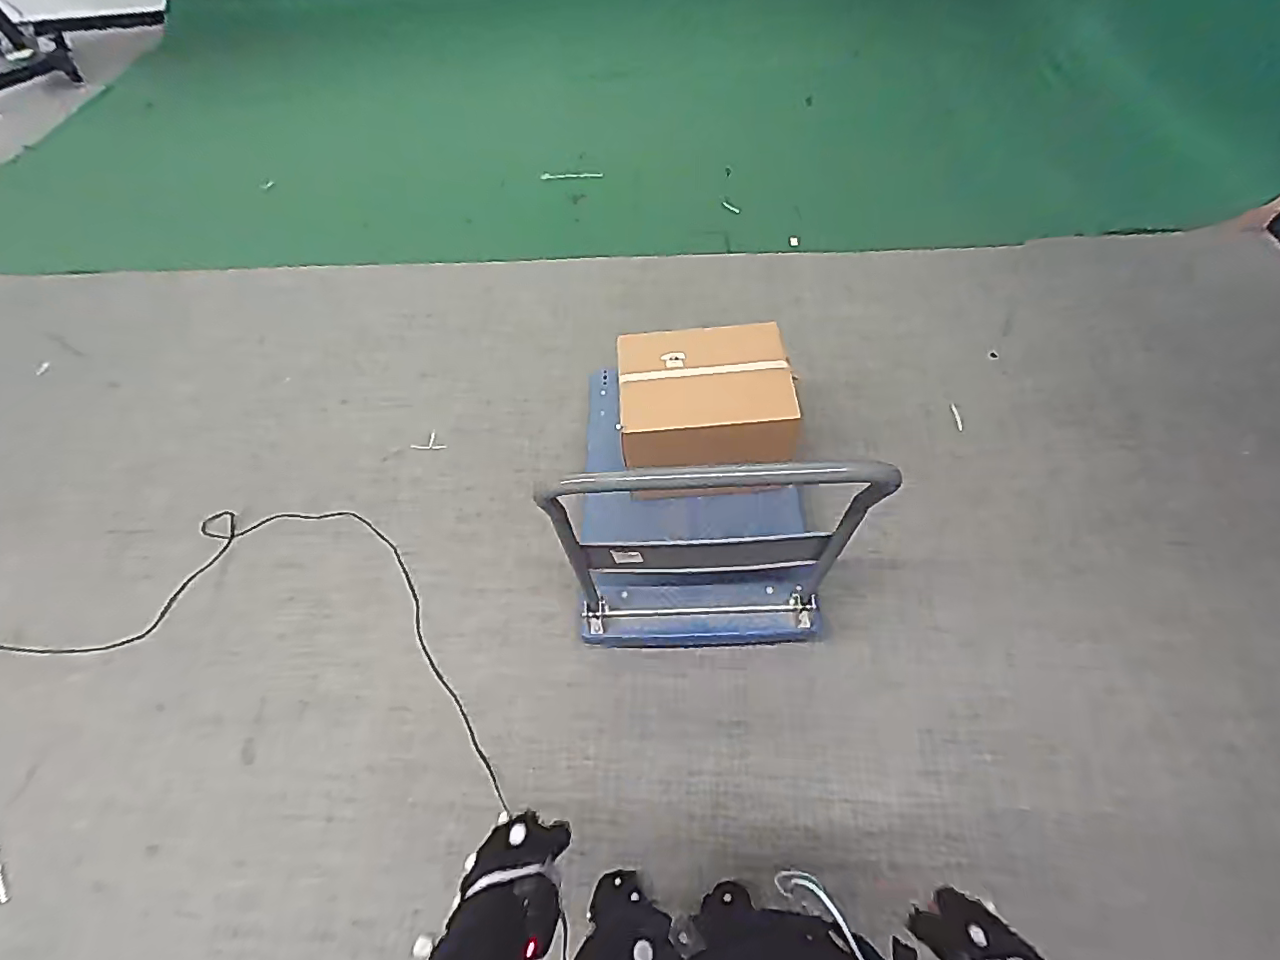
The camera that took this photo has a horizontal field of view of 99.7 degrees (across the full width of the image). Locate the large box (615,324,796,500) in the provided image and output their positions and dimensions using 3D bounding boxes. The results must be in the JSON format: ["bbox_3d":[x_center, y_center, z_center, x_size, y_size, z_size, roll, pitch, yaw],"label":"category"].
[{"bbox_3d":[0.158,-0.167,1.419,0.408,0.320,0.320,-6,57,2],"label":"large box"}]
